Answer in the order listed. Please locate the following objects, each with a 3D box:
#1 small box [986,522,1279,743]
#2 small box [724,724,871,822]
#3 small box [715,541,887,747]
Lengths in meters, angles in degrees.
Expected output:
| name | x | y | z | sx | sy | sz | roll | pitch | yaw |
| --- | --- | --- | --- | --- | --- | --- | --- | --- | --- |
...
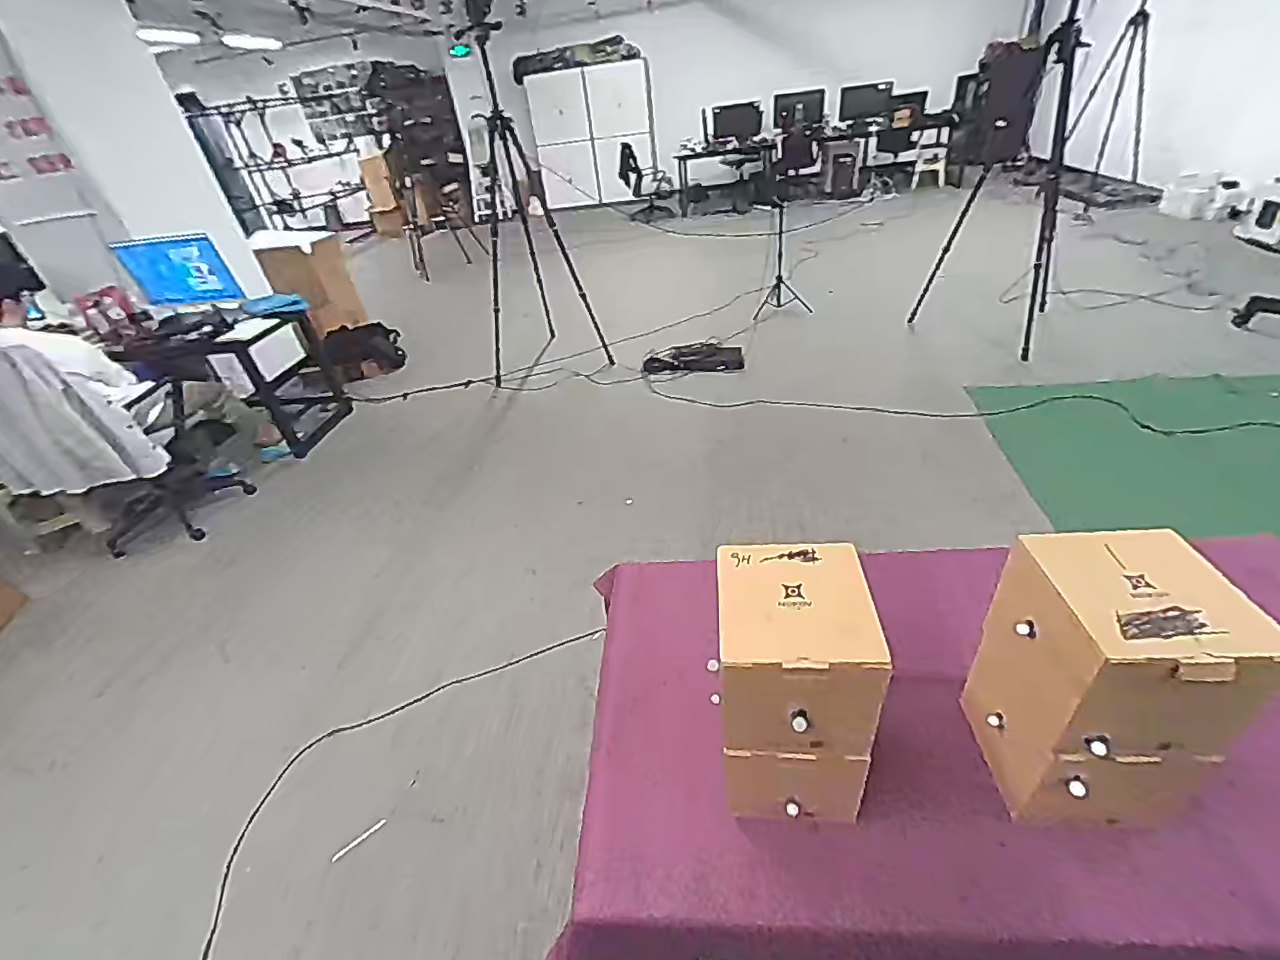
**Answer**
| name | x | y | z | sx | sy | sz | roll | pitch | yaw |
| --- | --- | --- | --- | --- | --- | --- | --- | --- | --- |
| small box | 0.520 | 0.169 | 0.599 | 0.168 | 0.176 | 0.179 | -4 | 34 | 7 |
| small box | 0.198 | 0.330 | 0.734 | 0.168 | 0.176 | 0.179 | -4 | 36 | 9 |
| small box | 0.177 | 0.194 | 0.642 | 0.168 | 0.176 | 0.179 | -3 | 36 | 8 |
